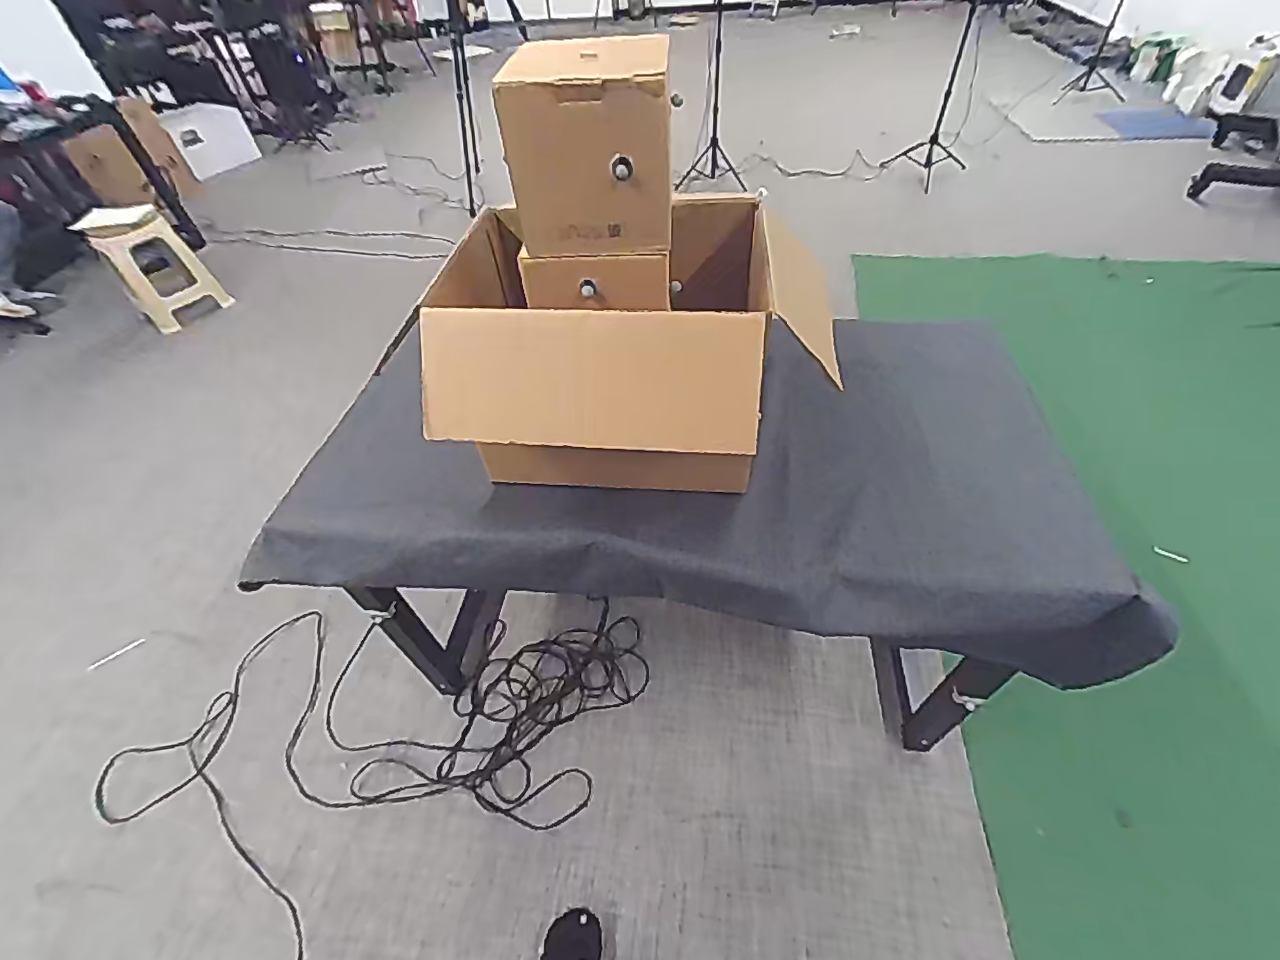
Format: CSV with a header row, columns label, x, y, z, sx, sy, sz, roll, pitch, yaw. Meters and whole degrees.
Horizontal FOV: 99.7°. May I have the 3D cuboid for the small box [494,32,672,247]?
label,x,y,z,sx,sy,sz,roll,pitch,yaw
small box,-0.048,-0.379,0.611,0.168,0.176,0.179,0,48,3
